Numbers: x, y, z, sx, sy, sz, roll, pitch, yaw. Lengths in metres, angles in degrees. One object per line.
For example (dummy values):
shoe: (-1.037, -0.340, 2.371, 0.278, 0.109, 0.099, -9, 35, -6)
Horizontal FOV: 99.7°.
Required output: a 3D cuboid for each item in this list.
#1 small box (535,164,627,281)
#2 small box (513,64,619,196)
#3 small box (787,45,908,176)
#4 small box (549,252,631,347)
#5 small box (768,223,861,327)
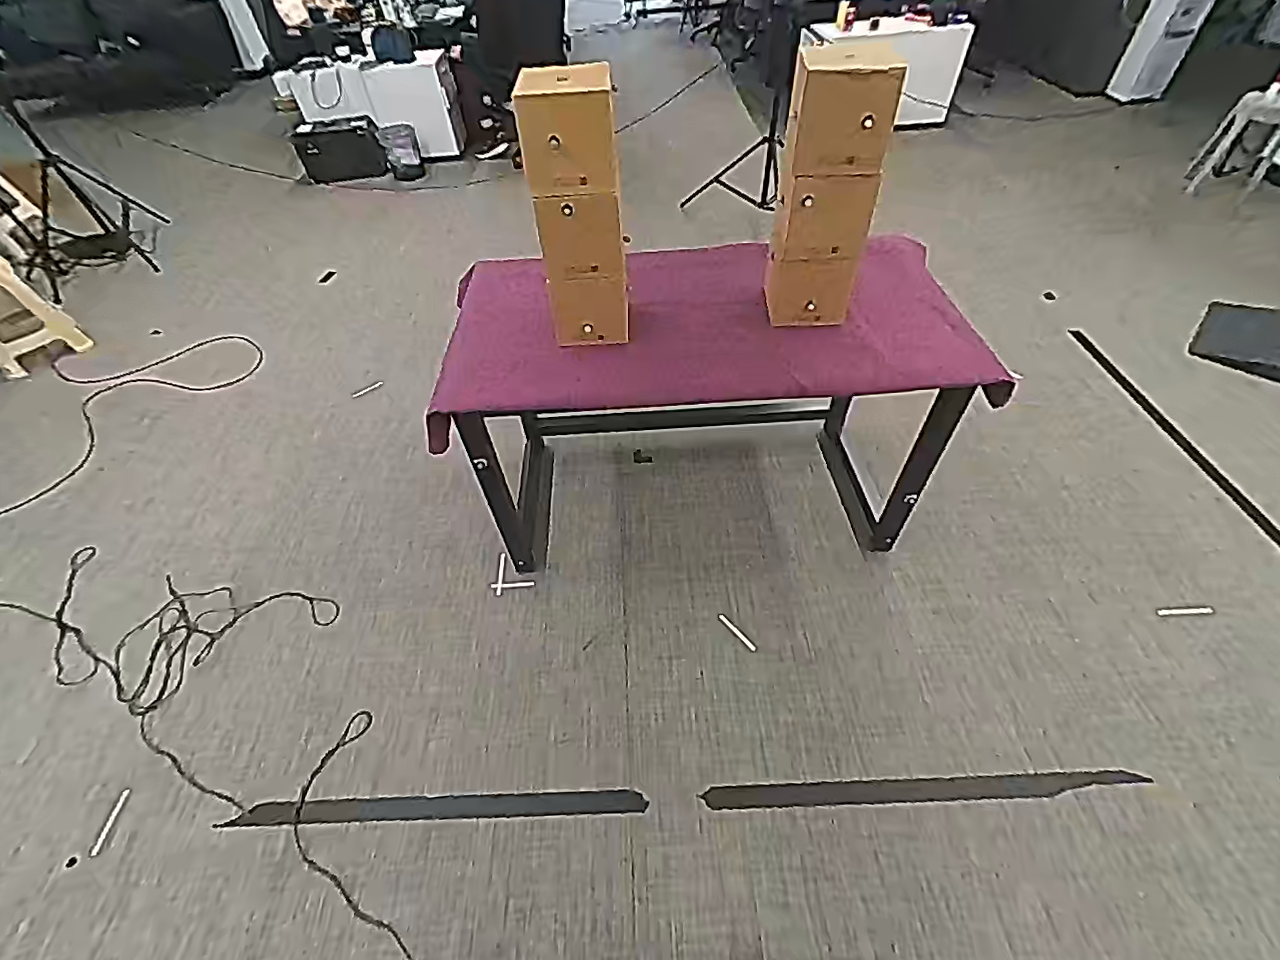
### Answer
small box: (-0.116, -0.538, 1.132, 0.168, 0.176, 0.179, -3, 49, 1)
small box: (-0.128, -0.646, 1.010, 0.168, 0.176, 0.179, -4, 49, 1)
small box: (0.375, -0.687, 1.011, 0.168, 0.176, 0.179, 3, 48, 5)
small box: (-0.109, -0.429, 1.254, 0.168, 0.176, 0.179, -2, 50, 2)
small box: (0.396, -0.479, 1.262, 0.168, 0.176, 0.179, 0, 49, 5)
